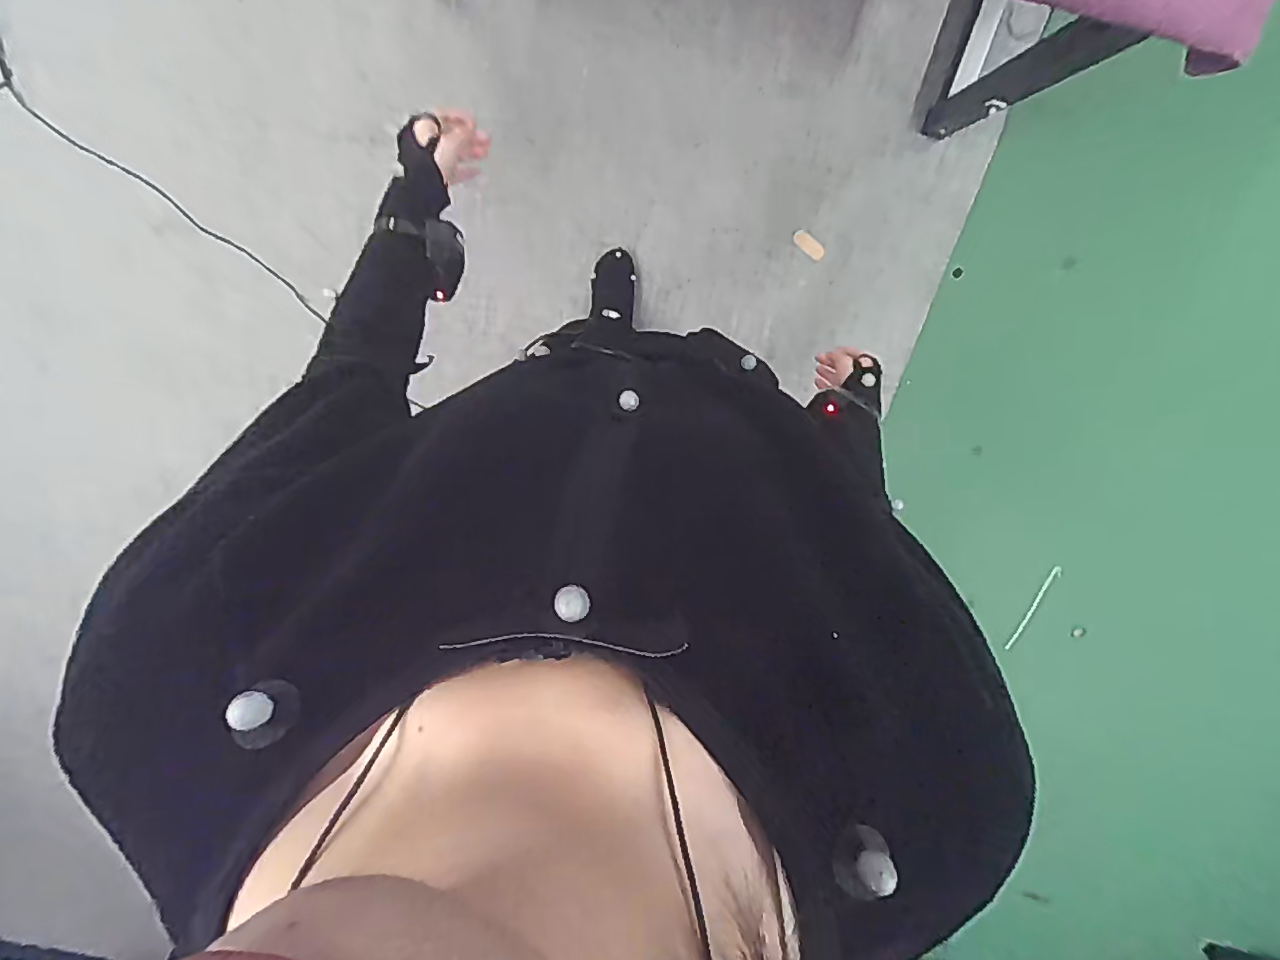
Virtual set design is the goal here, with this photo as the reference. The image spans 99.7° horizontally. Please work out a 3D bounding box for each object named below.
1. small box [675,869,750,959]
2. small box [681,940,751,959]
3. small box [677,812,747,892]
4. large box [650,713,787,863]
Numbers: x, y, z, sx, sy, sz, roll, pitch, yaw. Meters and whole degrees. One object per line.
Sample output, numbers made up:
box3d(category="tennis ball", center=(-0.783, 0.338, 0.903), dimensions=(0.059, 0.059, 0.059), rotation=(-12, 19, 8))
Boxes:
box3d(category="small box", center=(0.179, 1.141, 1.387), dimensions=(0.168, 0.176, 0.179), rotation=(5, 110, 2))
box3d(category="small box", center=(0.174, 1.201, 1.234), dimensions=(0.168, 0.176, 0.179), rotation=(3, 109, 2))
box3d(category="small box", center=(0.198, 1.081, 1.538), dimensions=(0.179, 0.176, 0.168), rotation=(3, 109, 3))
box3d(category="large box", center=(0.238, 0.994, 1.765), dimensions=(0.408, 0.320, 0.320), rotation=(-1, 112, 2))
